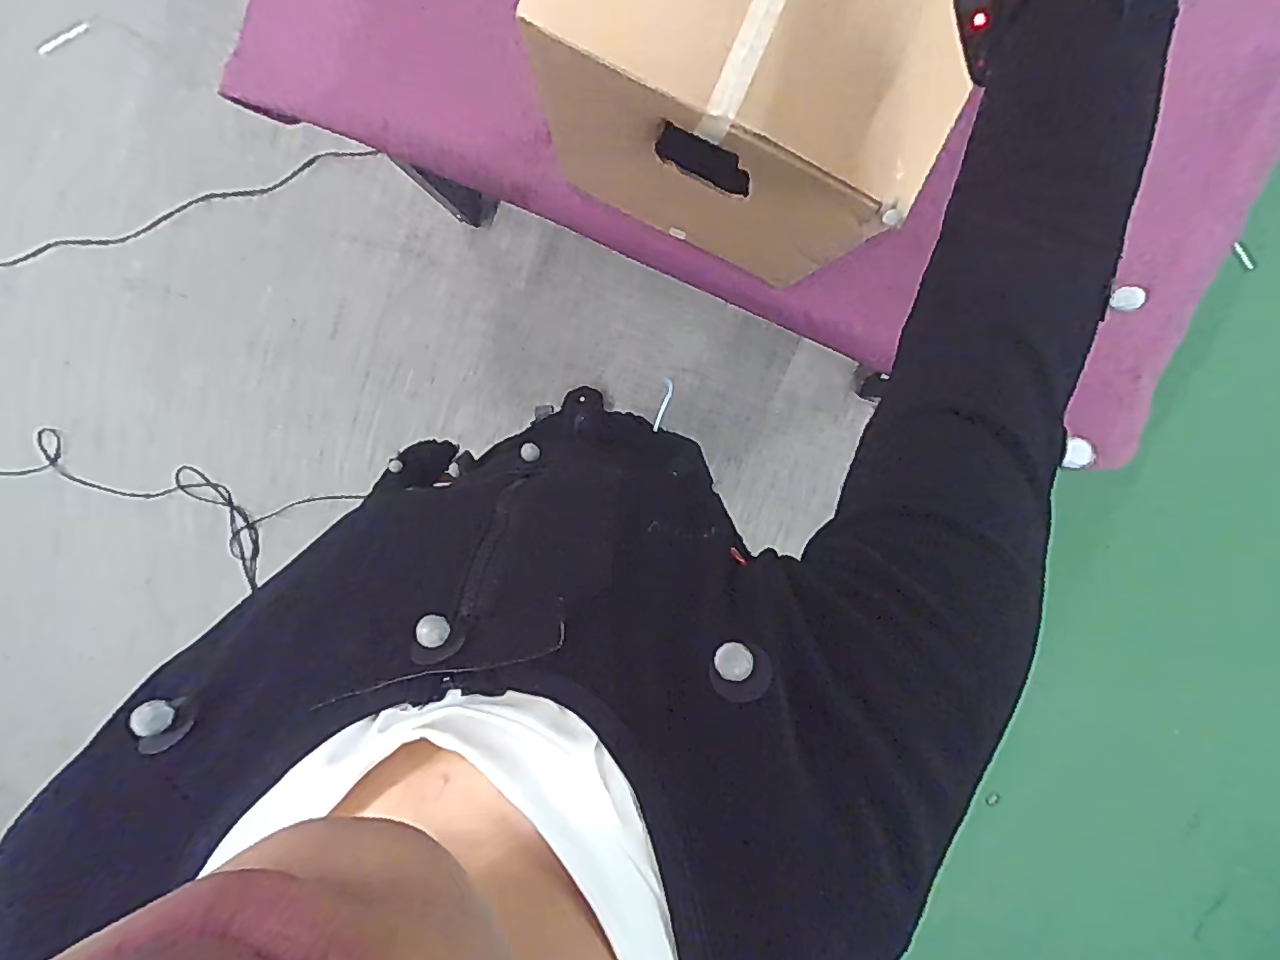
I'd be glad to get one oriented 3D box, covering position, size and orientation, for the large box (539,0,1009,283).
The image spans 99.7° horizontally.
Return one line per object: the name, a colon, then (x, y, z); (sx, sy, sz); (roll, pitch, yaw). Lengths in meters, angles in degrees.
large box: (0.139, -0.466, 0.523); (0.320, 0.320, 0.408); (25, 99, -5)
